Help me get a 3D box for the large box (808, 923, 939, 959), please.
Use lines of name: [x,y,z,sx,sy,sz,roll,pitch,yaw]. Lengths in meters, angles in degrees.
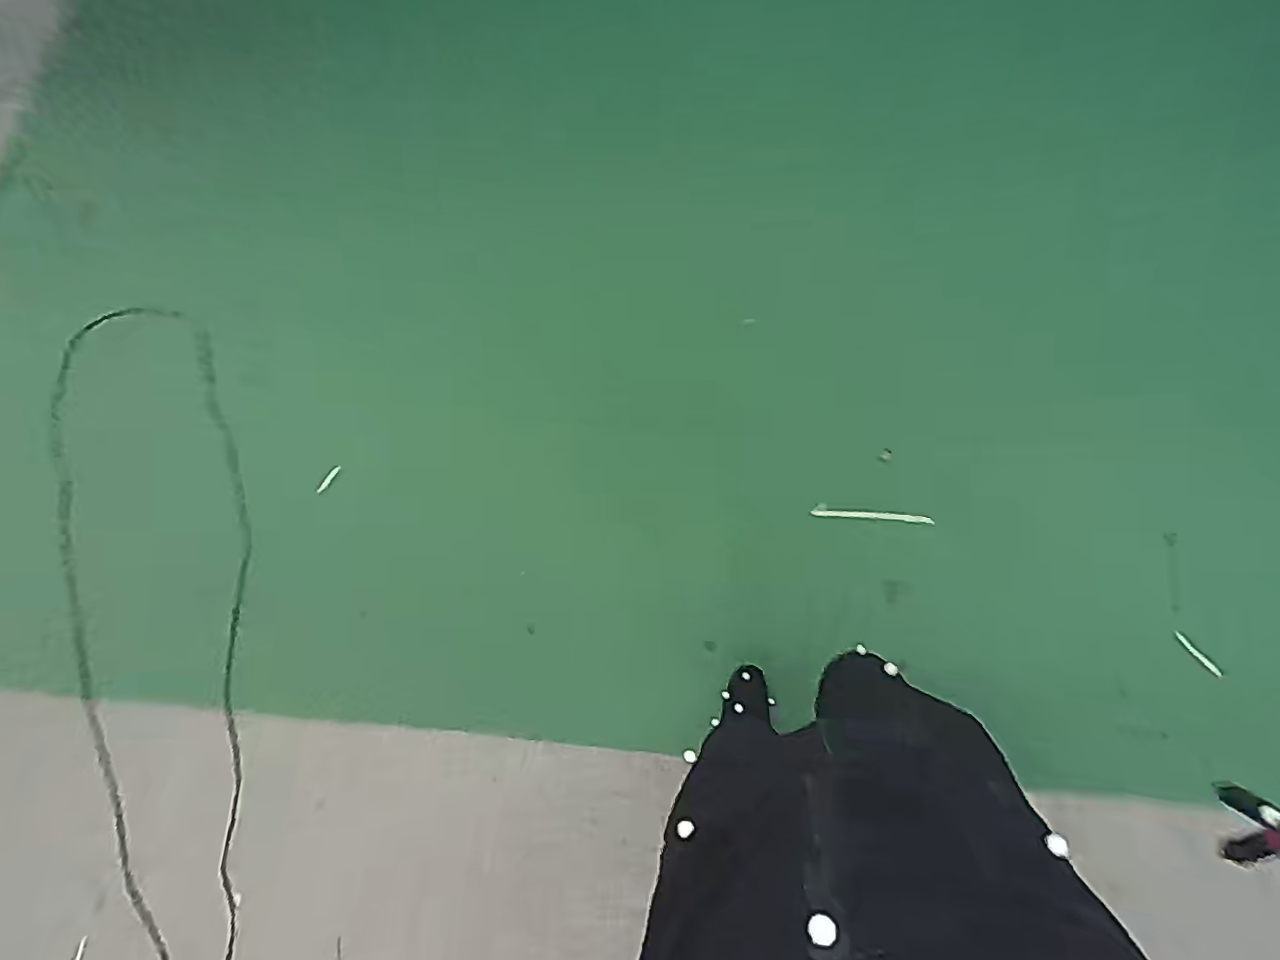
large box: [0.448,1.087,0.909,0.320,0.320,0.408,13,77,9]
